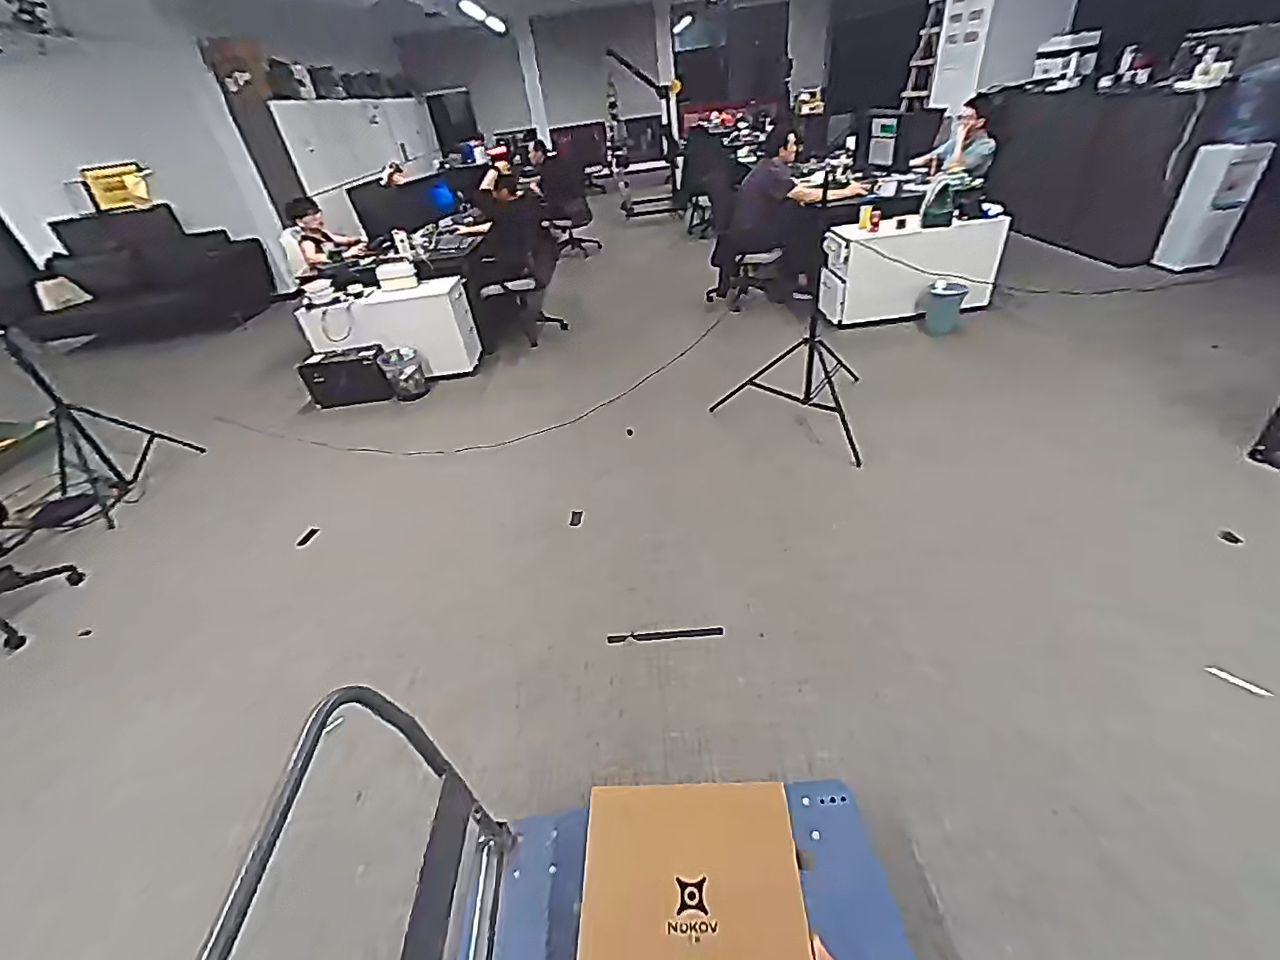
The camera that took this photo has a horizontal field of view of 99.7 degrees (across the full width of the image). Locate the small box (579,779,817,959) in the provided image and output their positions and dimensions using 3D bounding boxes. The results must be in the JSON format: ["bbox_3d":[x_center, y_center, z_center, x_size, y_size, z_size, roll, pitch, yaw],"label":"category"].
[{"bbox_3d":[0.050,0.372,0.442,0.168,0.176,0.179,-5,38,7],"label":"small box"}]
